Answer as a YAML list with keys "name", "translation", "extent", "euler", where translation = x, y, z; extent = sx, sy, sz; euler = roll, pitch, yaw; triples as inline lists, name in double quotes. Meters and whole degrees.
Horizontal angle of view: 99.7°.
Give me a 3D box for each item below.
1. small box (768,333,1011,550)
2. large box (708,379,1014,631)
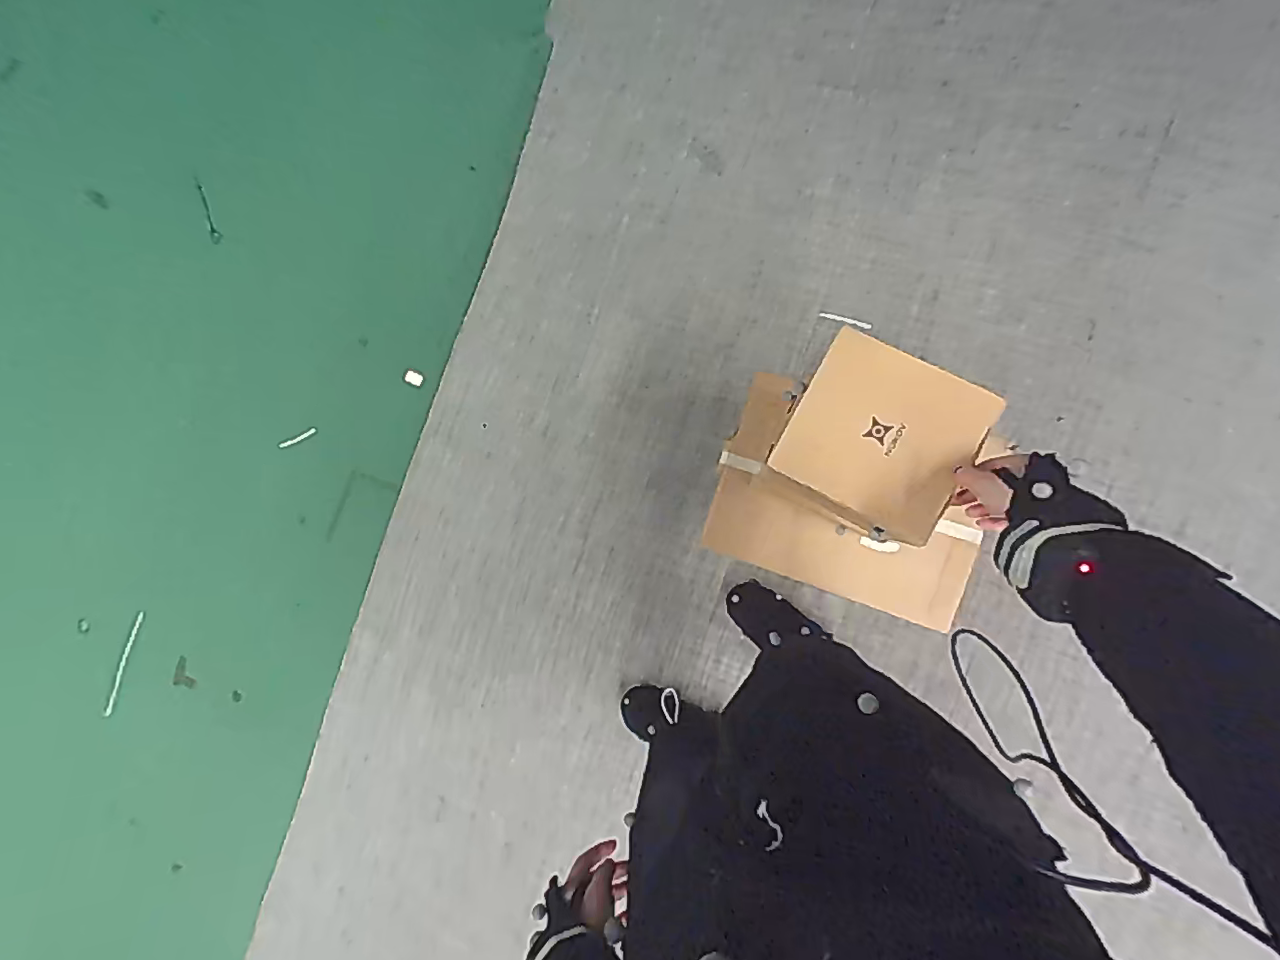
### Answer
- name: "small box"
  translation: [0.261, -0.036, 0.618]
  extent: [0.179, 0.176, 0.168]
  euler: [29, 93, 10]
- name: "large box"
  translation: [0.367, 0.038, 1.008]
  extent: [0.408, 0.320, 0.320]
  euler: [19, 92, 11]
